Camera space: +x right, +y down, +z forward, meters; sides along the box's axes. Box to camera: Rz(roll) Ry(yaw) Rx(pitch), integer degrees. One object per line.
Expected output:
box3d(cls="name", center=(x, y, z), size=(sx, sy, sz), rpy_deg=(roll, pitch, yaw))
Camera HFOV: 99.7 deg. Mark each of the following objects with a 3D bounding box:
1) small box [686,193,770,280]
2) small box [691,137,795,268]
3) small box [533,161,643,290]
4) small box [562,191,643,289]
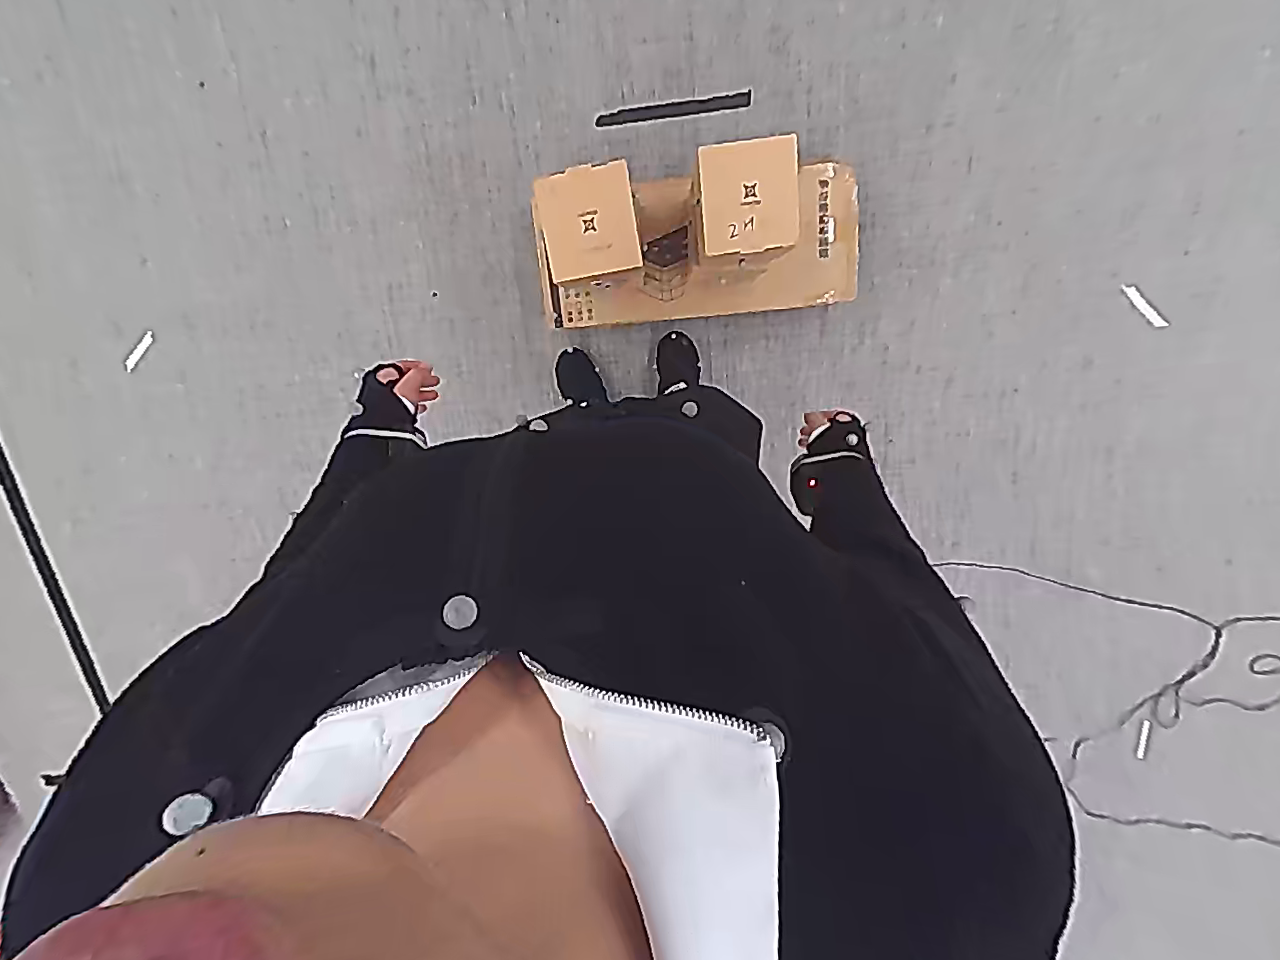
box3d(cls="small box", center=(0.186, -0.532, 1.166), size=(0.168, 0.176, 0.179), rpy_deg=(-1, 106, 3))
box3d(cls="small box", center=(0.185, -0.503, 1.002), size=(0.168, 0.176, 0.179), rpy_deg=(-5, 105, 3))
box3d(cls="small box", center=(-0.089, -0.468, 1.020), size=(0.168, 0.176, 0.179), rpy_deg=(-10, 106, 5))
box3d(cls="small box", center=(-0.082, -0.512, 1.178), size=(0.168, 0.176, 0.179), rpy_deg=(-3, 106, 3))
